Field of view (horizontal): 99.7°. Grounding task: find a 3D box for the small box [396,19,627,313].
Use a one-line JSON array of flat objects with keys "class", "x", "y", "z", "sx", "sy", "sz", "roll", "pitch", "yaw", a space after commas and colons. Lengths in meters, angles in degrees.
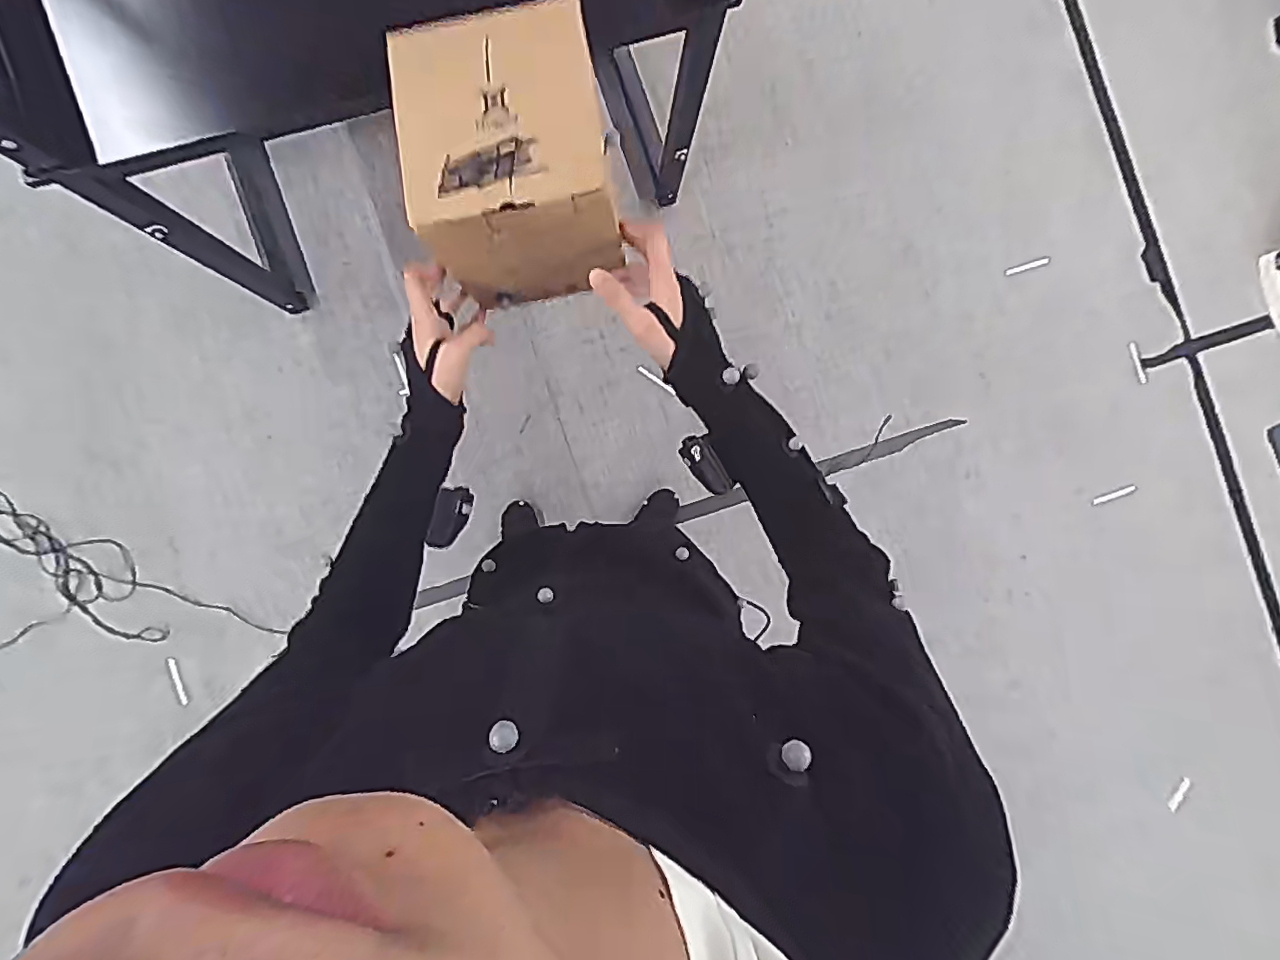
[{"class": "small box", "x": -0.110, "y": -0.280, "z": 0.527, "sx": 0.168, "sy": 0.176, "sz": 0.179, "roll": -10, "pitch": 82, "yaw": 3}]
